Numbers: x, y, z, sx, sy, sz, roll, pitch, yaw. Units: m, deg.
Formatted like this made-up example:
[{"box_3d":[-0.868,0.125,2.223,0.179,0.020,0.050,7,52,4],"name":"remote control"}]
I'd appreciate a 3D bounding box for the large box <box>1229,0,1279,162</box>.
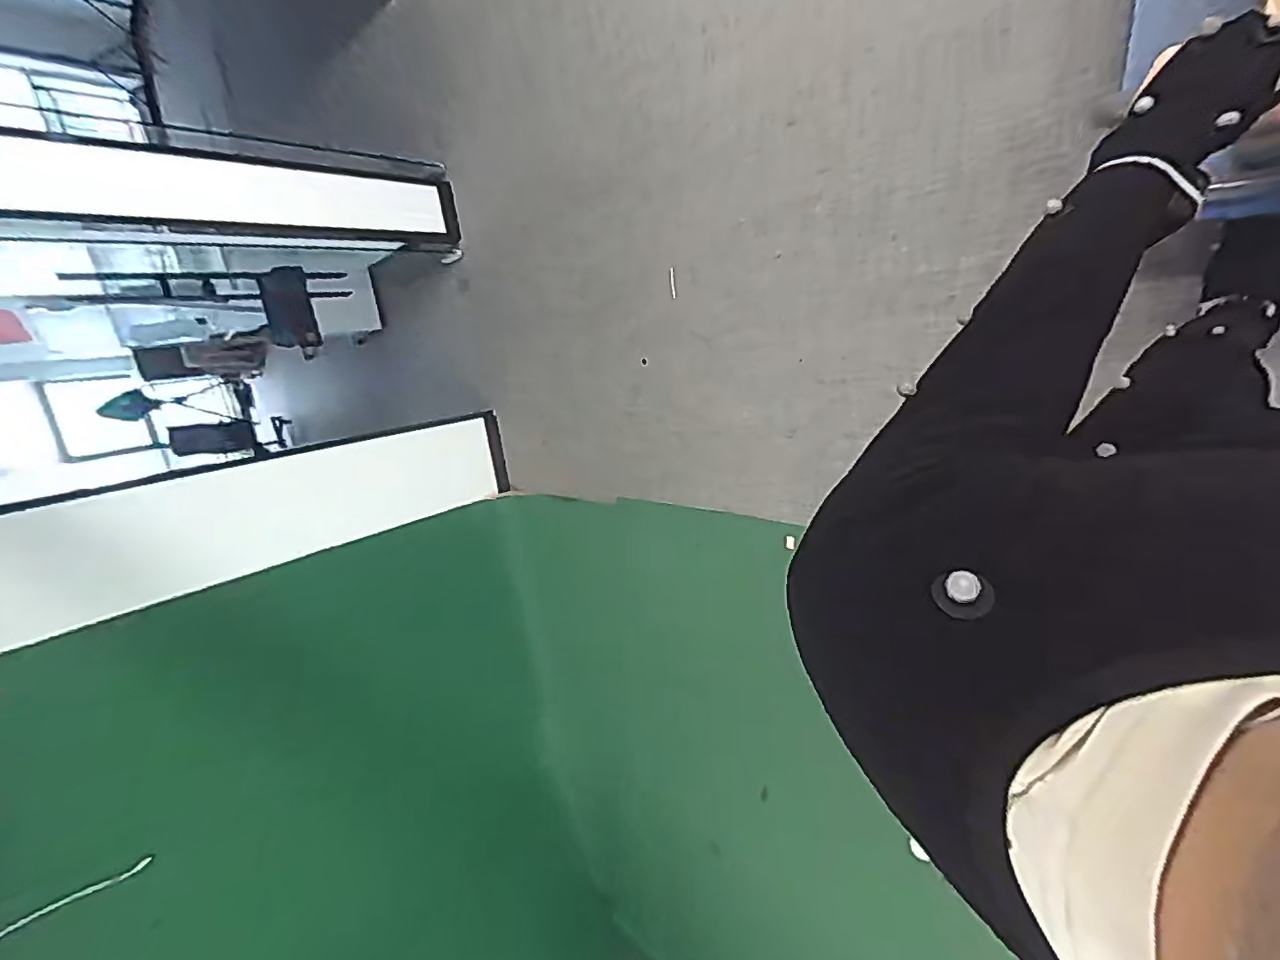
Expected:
[{"box_3d":[0.987,-0.673,0.660,0.320,0.320,0.408,11,111,42],"name":"large box"}]
